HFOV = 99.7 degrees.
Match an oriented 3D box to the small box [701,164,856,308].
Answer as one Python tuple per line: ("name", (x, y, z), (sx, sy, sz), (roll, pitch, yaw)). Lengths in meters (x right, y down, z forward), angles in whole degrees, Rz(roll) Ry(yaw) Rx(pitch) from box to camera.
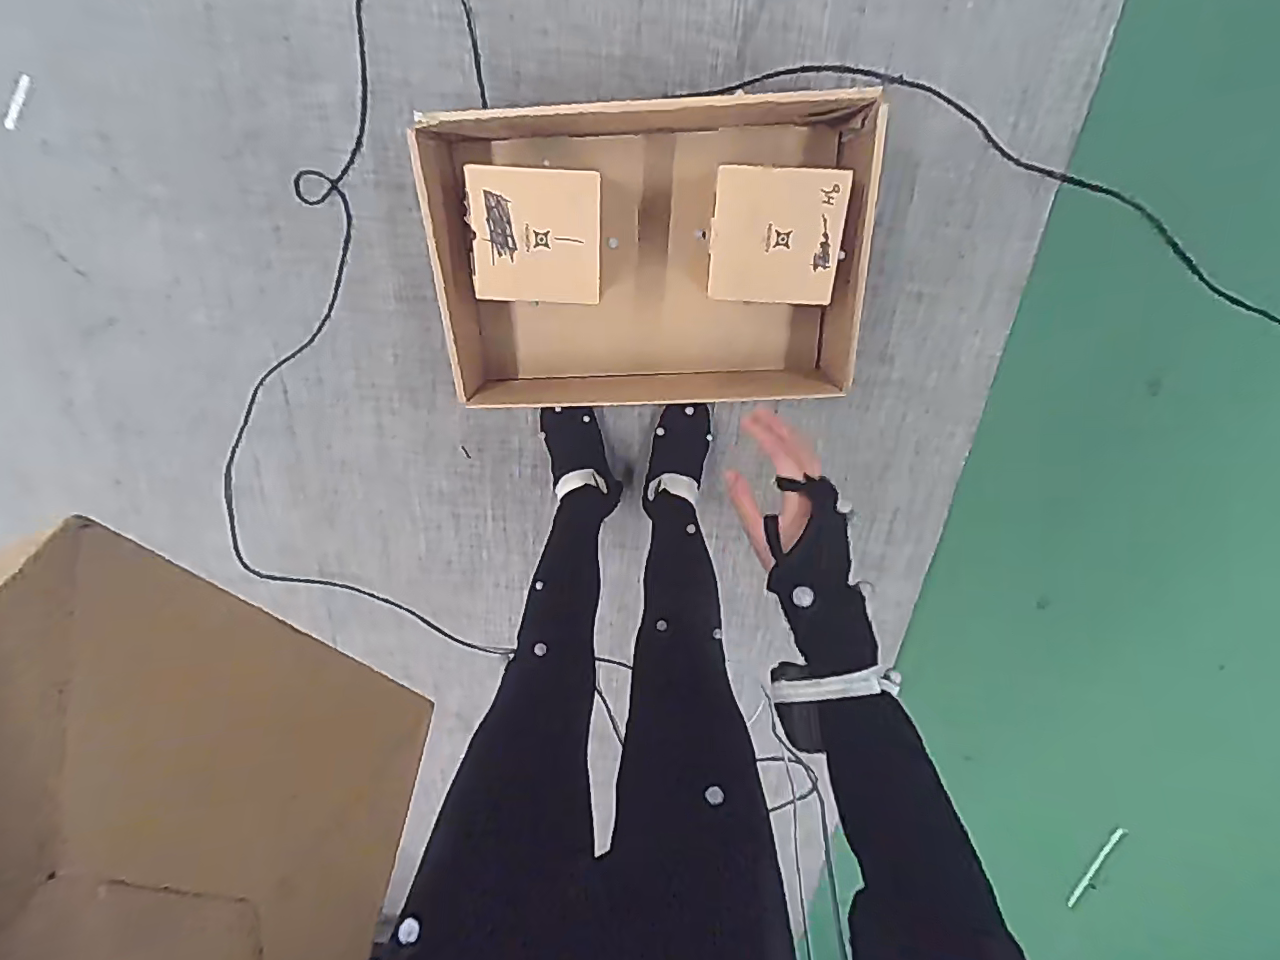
("small box", (0.186, -0.353, 0.791), (0.179, 0.176, 0.168), (4, 115, 0))
